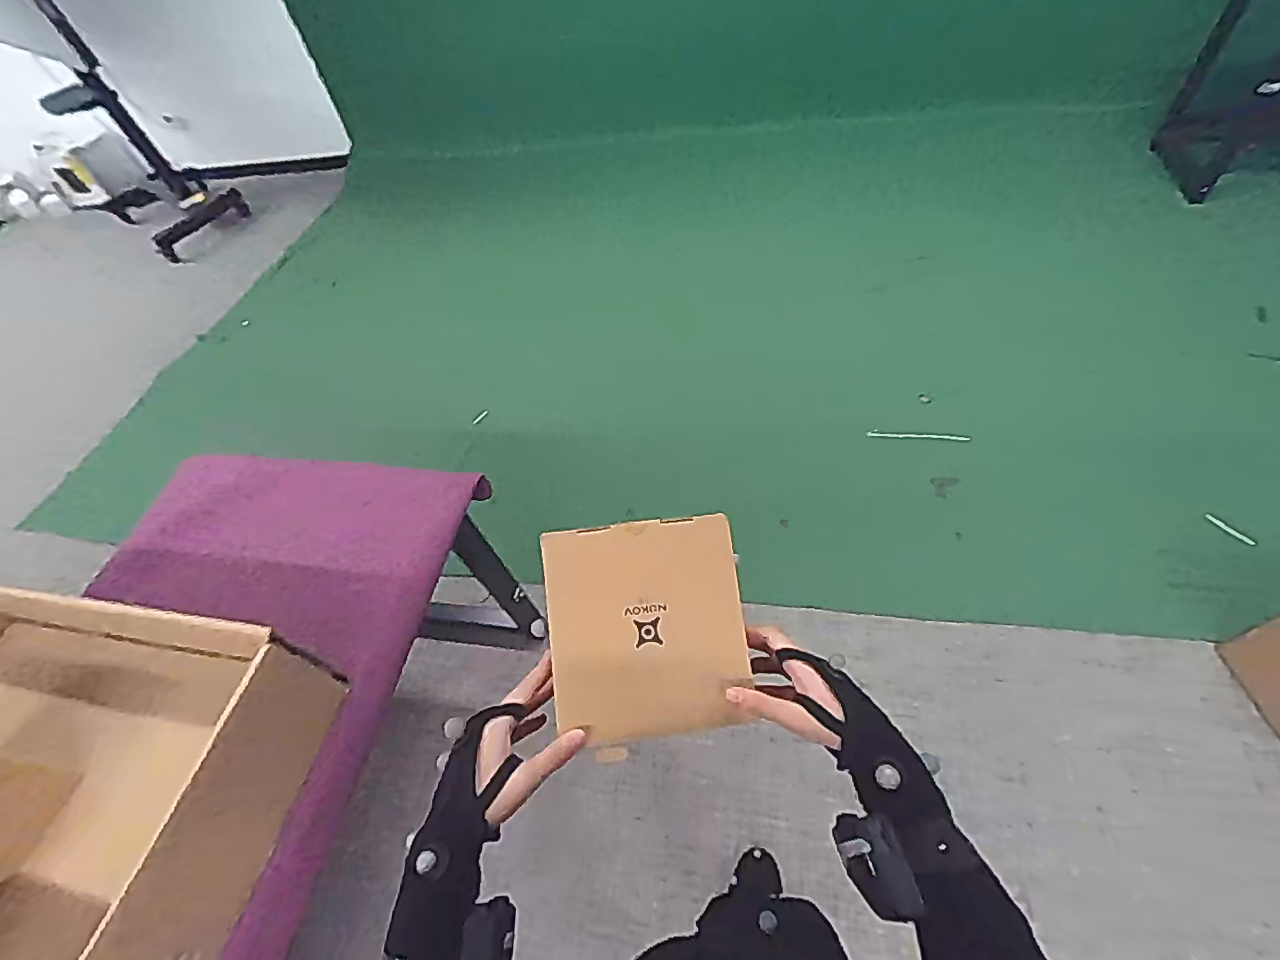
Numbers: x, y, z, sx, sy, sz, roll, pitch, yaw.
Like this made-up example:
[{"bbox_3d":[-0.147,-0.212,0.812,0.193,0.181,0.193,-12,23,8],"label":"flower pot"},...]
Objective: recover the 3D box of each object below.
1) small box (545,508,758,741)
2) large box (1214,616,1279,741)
[{"bbox_3d":[0.002,0.133,0.529,0.168,0.176,0.179,-6,77,-7],"label":"small box"},{"bbox_3d":[1.544,0.463,1.076,0.320,0.320,0.408,-8,51,2],"label":"large box"}]
